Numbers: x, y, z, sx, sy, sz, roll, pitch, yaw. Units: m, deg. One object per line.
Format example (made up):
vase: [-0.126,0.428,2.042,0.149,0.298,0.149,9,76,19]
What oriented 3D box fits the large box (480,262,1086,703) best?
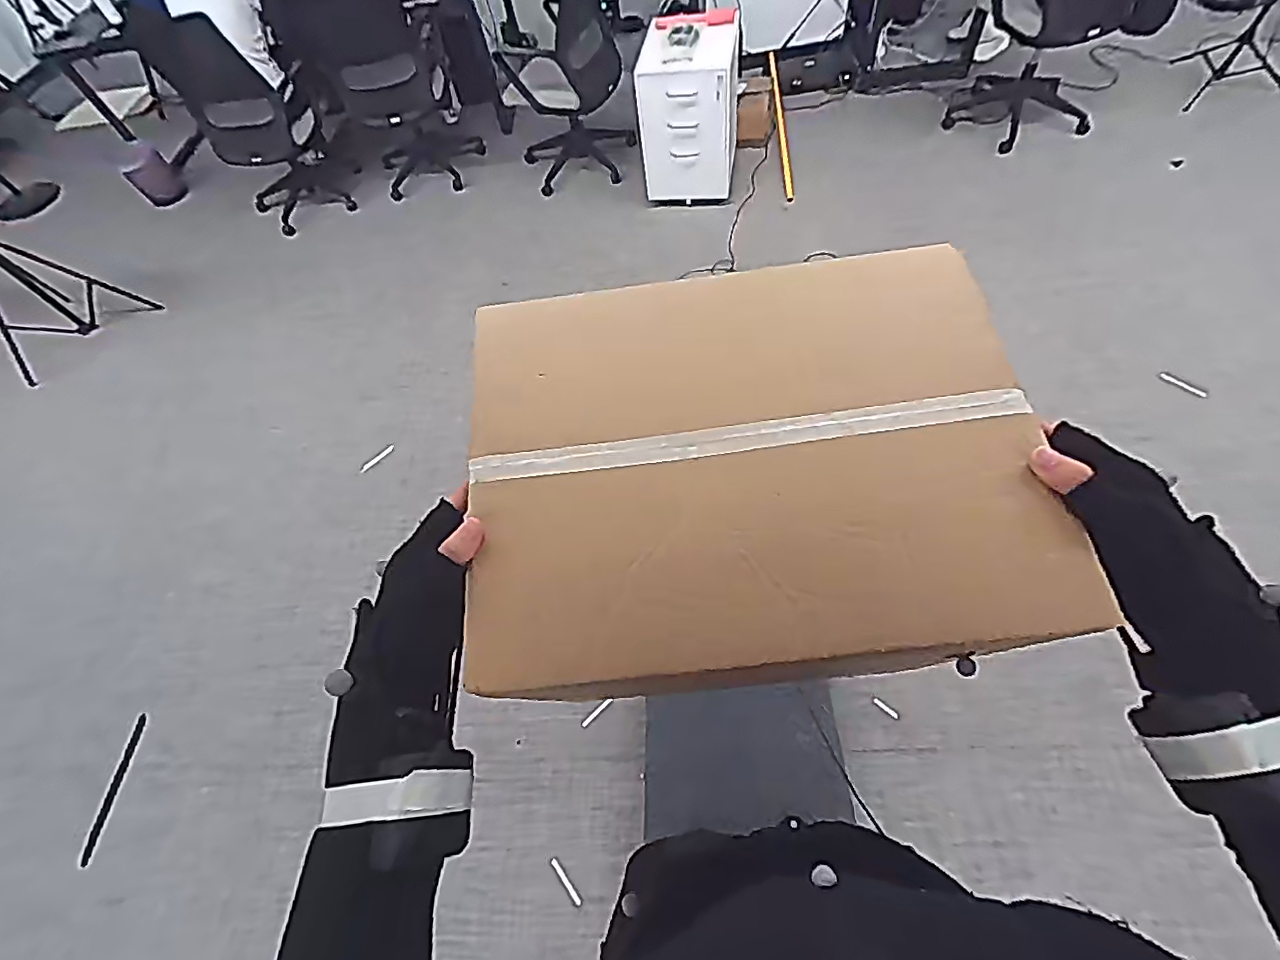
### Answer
large box: [0.090,0.037,0.545,0.408,0.320,0.320,-8,66,3]
